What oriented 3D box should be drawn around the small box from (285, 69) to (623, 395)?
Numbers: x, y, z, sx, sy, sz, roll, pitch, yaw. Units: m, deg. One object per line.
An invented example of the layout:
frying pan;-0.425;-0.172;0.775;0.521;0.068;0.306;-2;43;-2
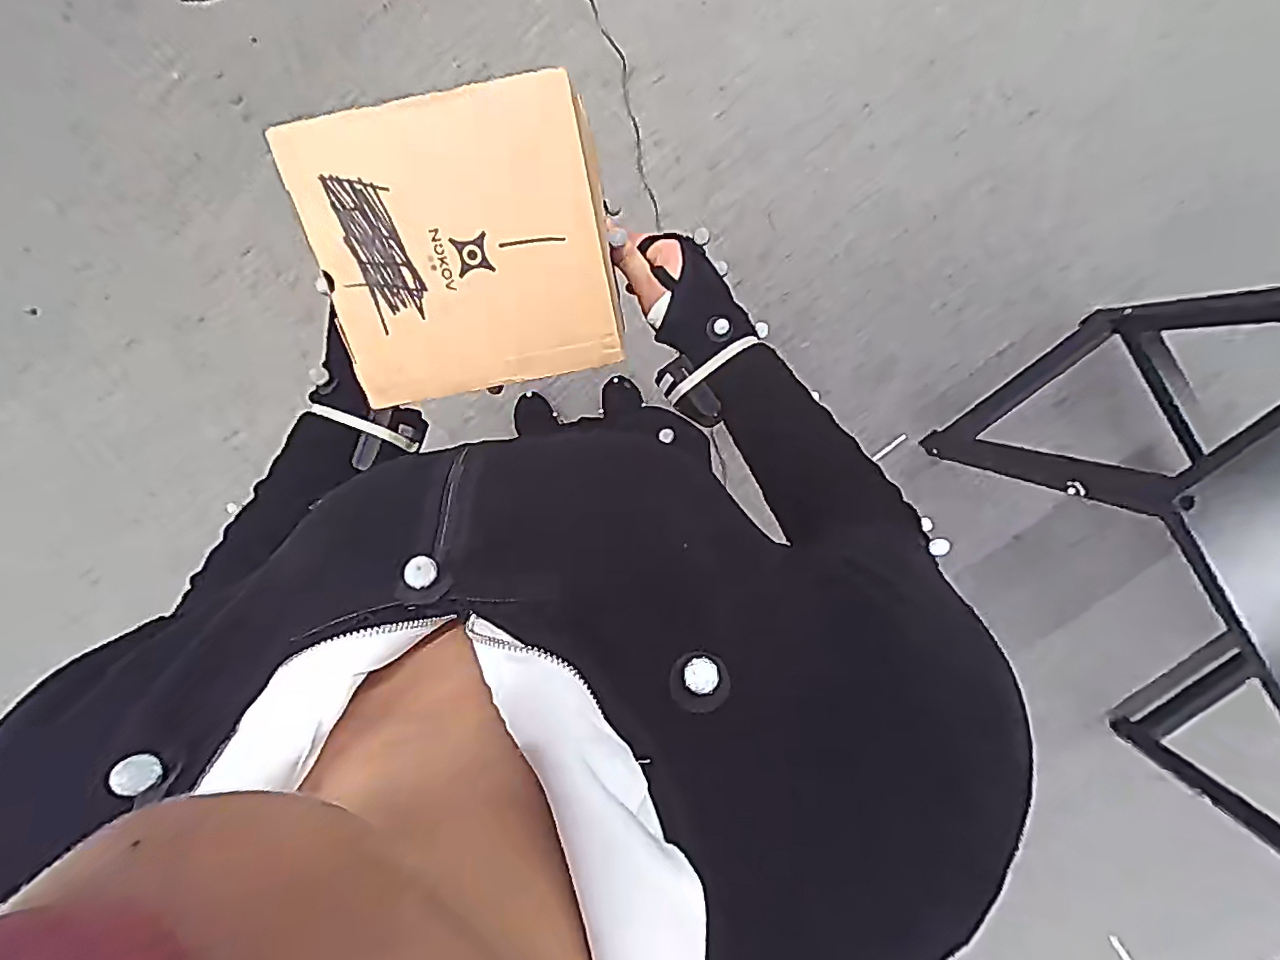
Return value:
small box;-0.110;-0.175;0.411;0.179;0.176;0.168;-10;114;2
